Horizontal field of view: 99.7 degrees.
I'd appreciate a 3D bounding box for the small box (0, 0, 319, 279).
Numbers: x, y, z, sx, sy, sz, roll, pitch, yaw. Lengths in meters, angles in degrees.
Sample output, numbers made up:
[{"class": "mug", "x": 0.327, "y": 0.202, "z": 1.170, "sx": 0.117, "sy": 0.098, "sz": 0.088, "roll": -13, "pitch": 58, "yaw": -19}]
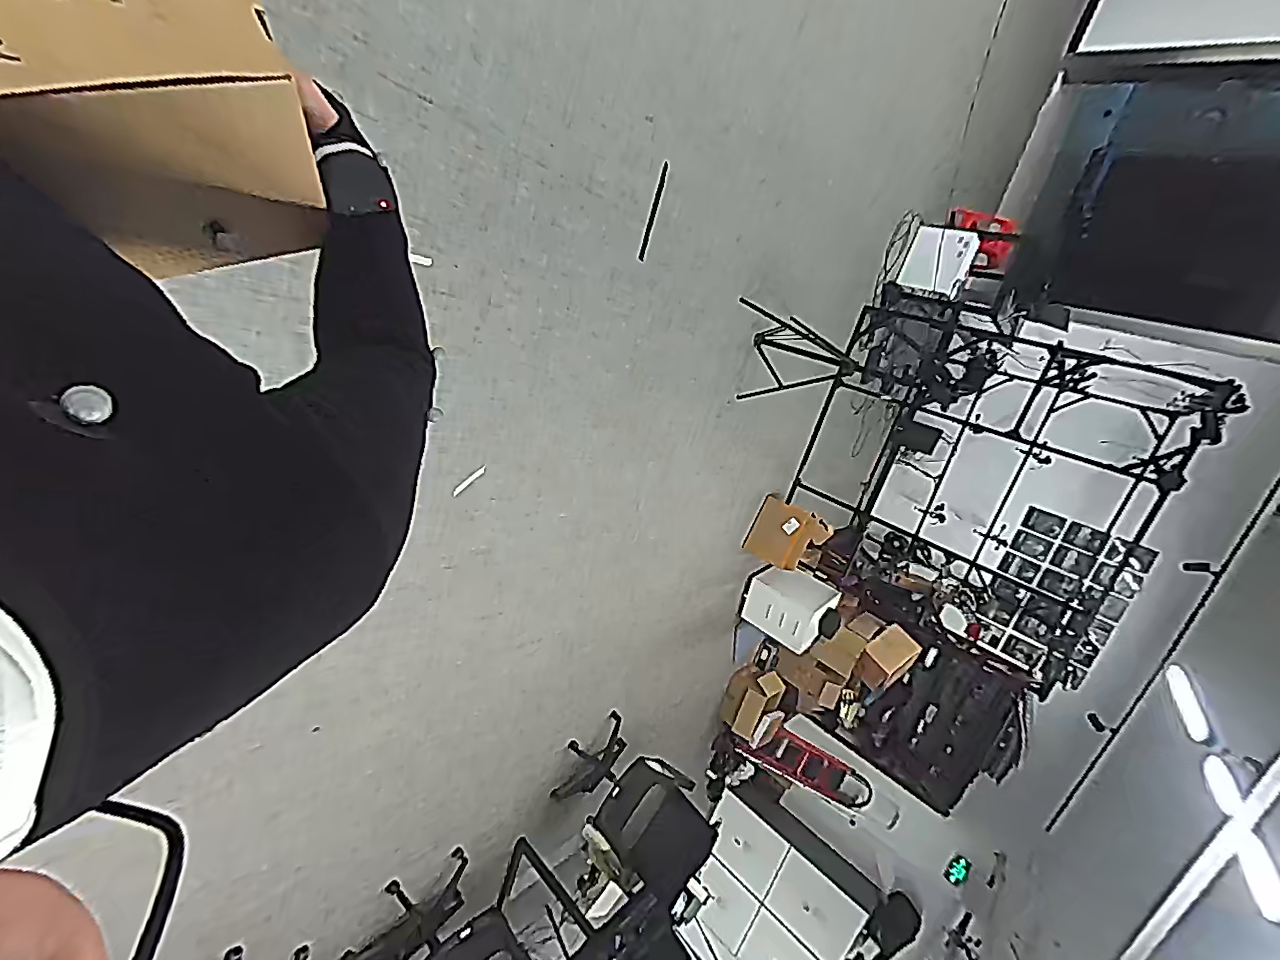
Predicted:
[{"class": "small box", "x": -0.381, "y": -0.291, "z": 0.430, "sx": 0.179, "sy": 0.168, "sz": 0.176, "roll": -26, "pitch": 172, "yaw": -26}]
